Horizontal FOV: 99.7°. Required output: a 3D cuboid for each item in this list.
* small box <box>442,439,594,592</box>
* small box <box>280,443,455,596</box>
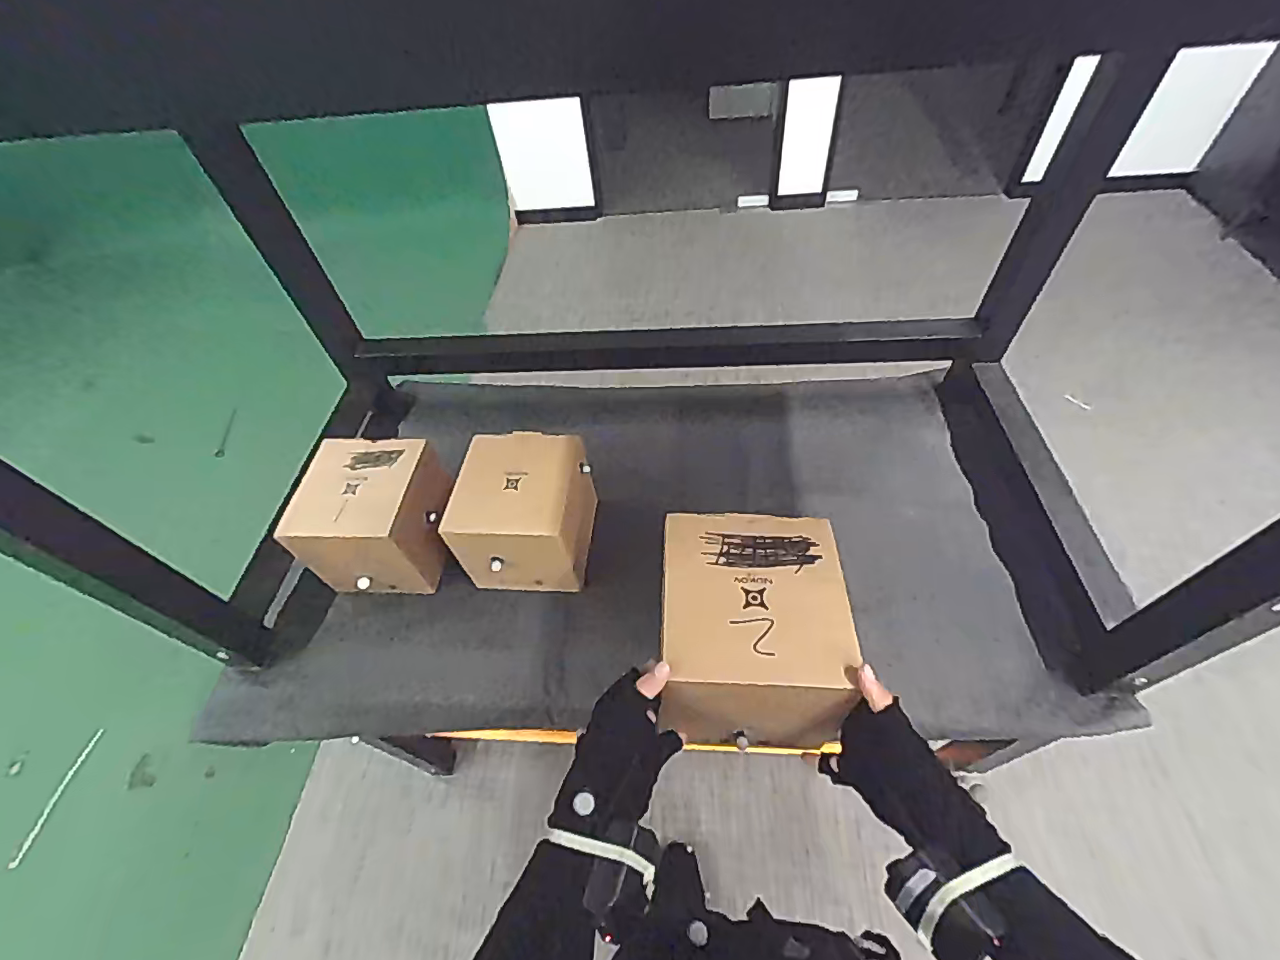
[{"bbox_3d":[-0.169,0.057,0.819,0.168,0.176,0.179,1,51,6],"label":"small box"},{"bbox_3d":[-0.396,0.061,0.836,0.168,0.176,0.179,0,52,6],"label":"small box"}]
